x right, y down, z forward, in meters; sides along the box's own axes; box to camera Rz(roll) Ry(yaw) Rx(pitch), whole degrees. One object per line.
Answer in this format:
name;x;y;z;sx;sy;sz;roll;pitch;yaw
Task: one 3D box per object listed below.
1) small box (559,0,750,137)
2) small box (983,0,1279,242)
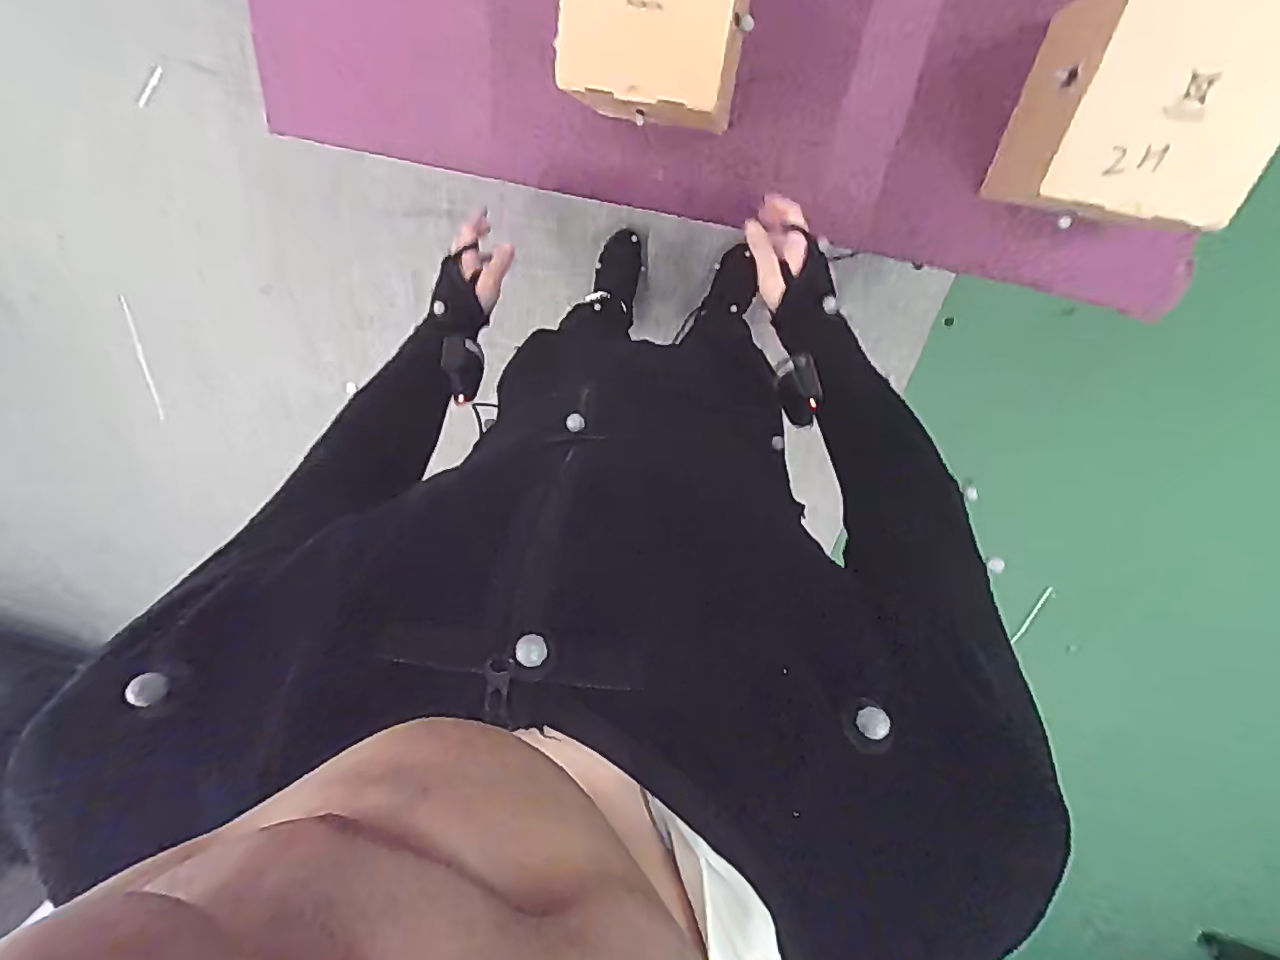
small box;0.023;-0.484;0.571;0.168;0.176;0.179;13;119;5
small box;0.480;-0.350;0.535;0.168;0.176;0.179;16;119;6
